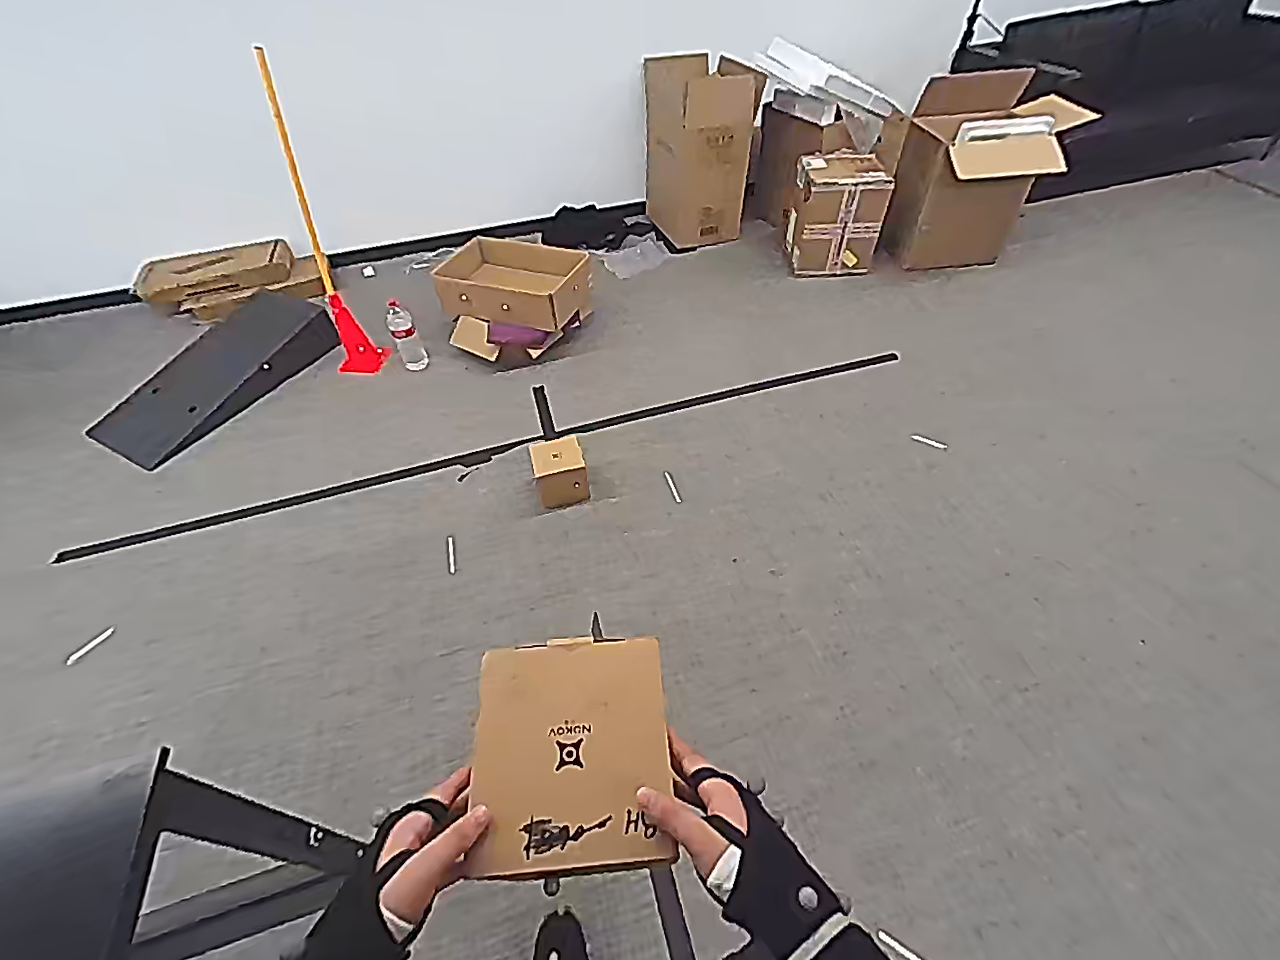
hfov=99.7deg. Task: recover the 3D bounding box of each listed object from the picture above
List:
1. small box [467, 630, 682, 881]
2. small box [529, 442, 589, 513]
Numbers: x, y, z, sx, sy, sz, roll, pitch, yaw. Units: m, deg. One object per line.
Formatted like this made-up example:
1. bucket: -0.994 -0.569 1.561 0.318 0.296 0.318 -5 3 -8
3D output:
1. small box: -0.054 0.267 0.522 0.168 0.176 0.179 -6 51 -2
2. small box: -0.287 -0.007 1.944 0.179 0.176 0.168 -15 48 -9
